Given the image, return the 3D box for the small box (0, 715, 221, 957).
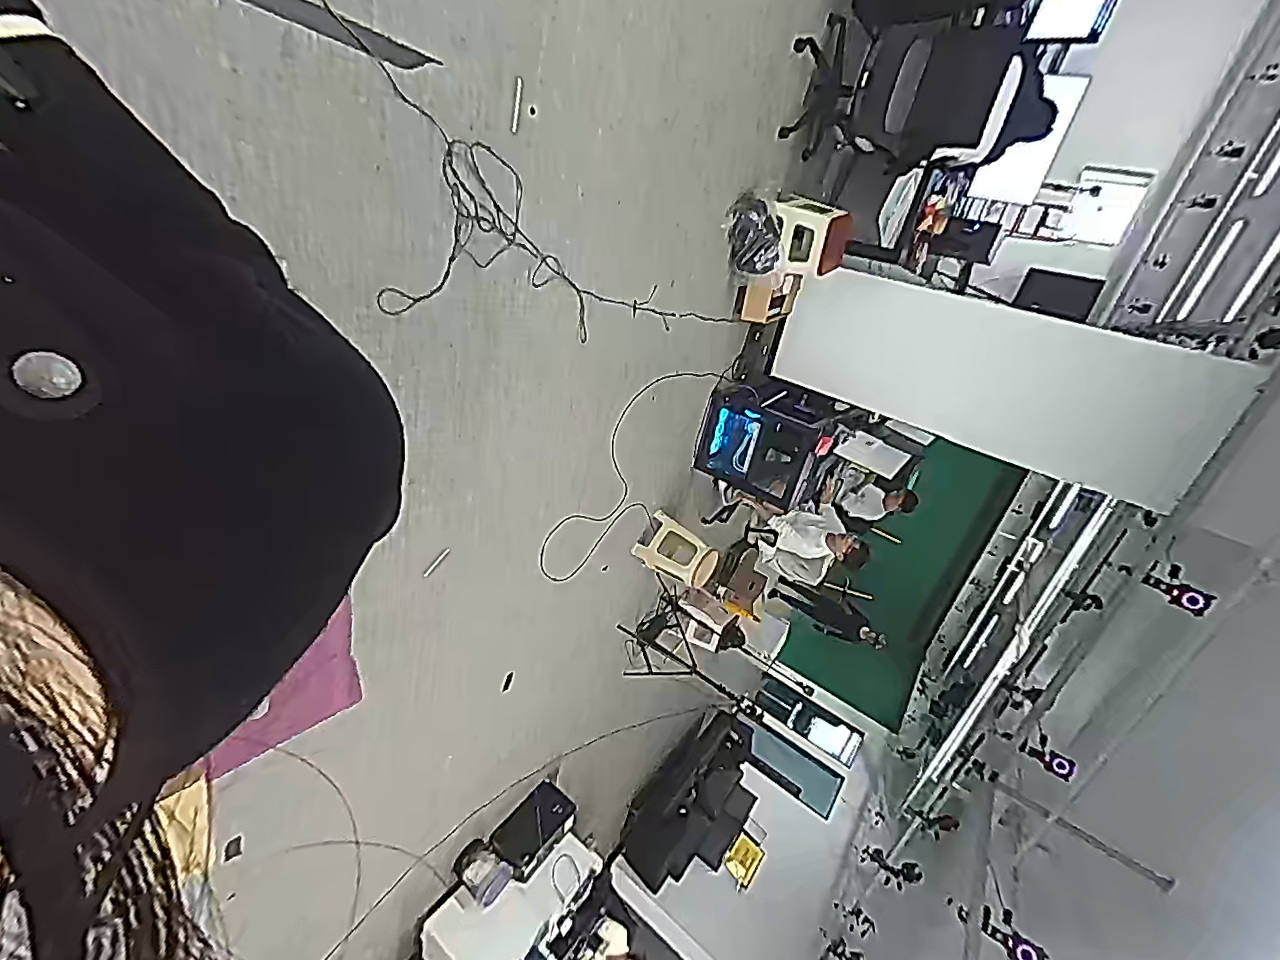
[{"bbox_3d":[-0.688,0.443,0.709,0.168,0.176,0.179,-19,128,-53],"label":"small box"}]
